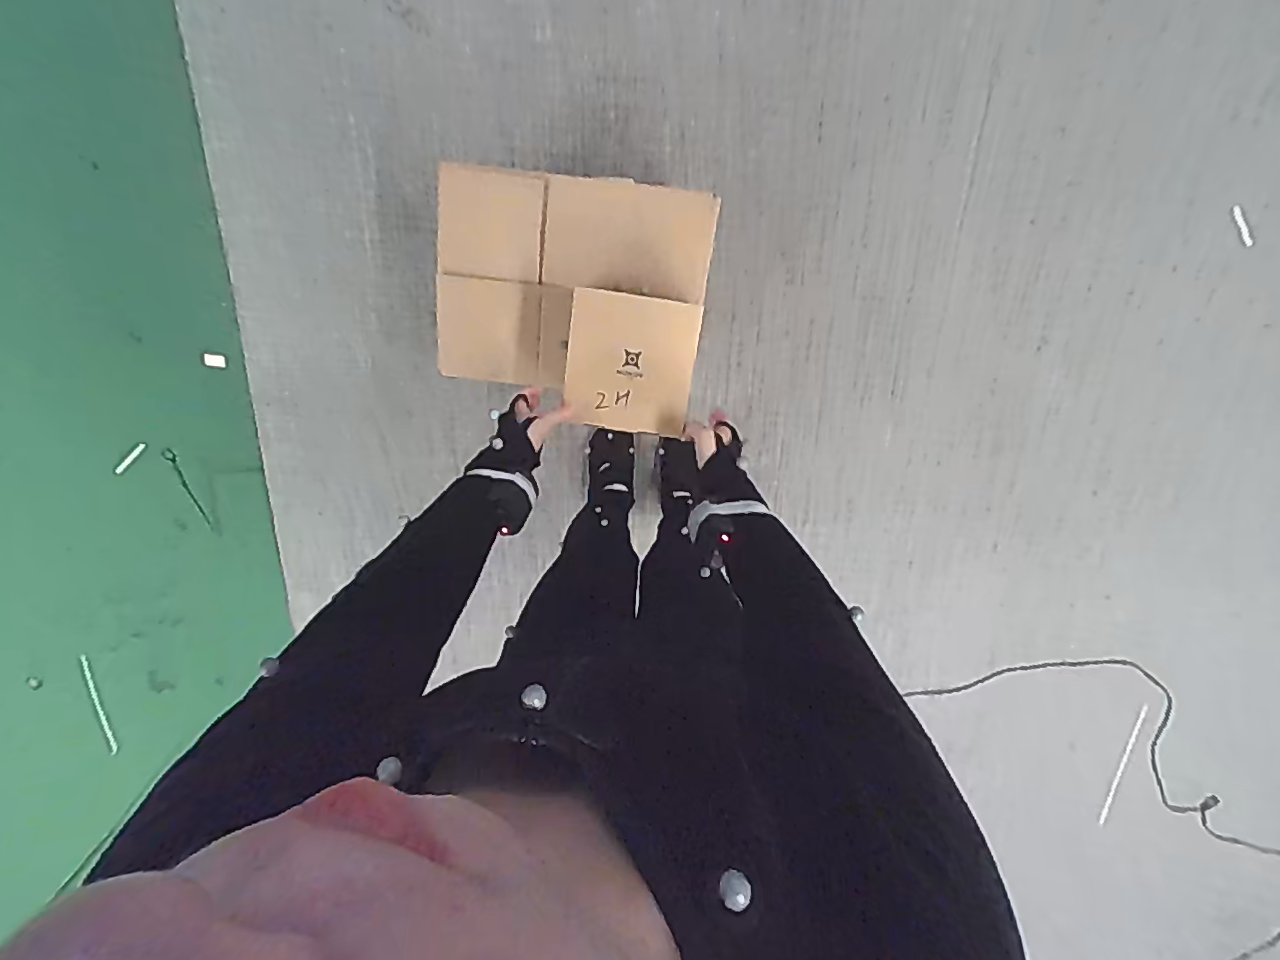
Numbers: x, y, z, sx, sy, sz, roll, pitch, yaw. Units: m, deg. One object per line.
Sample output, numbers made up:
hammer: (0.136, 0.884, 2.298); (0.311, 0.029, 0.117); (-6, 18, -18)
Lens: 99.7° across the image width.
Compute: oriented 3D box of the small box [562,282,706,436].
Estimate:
small box: (-0.012, -0.176, 0.774); (0.168, 0.176, 0.179); (9, 107, -3)
